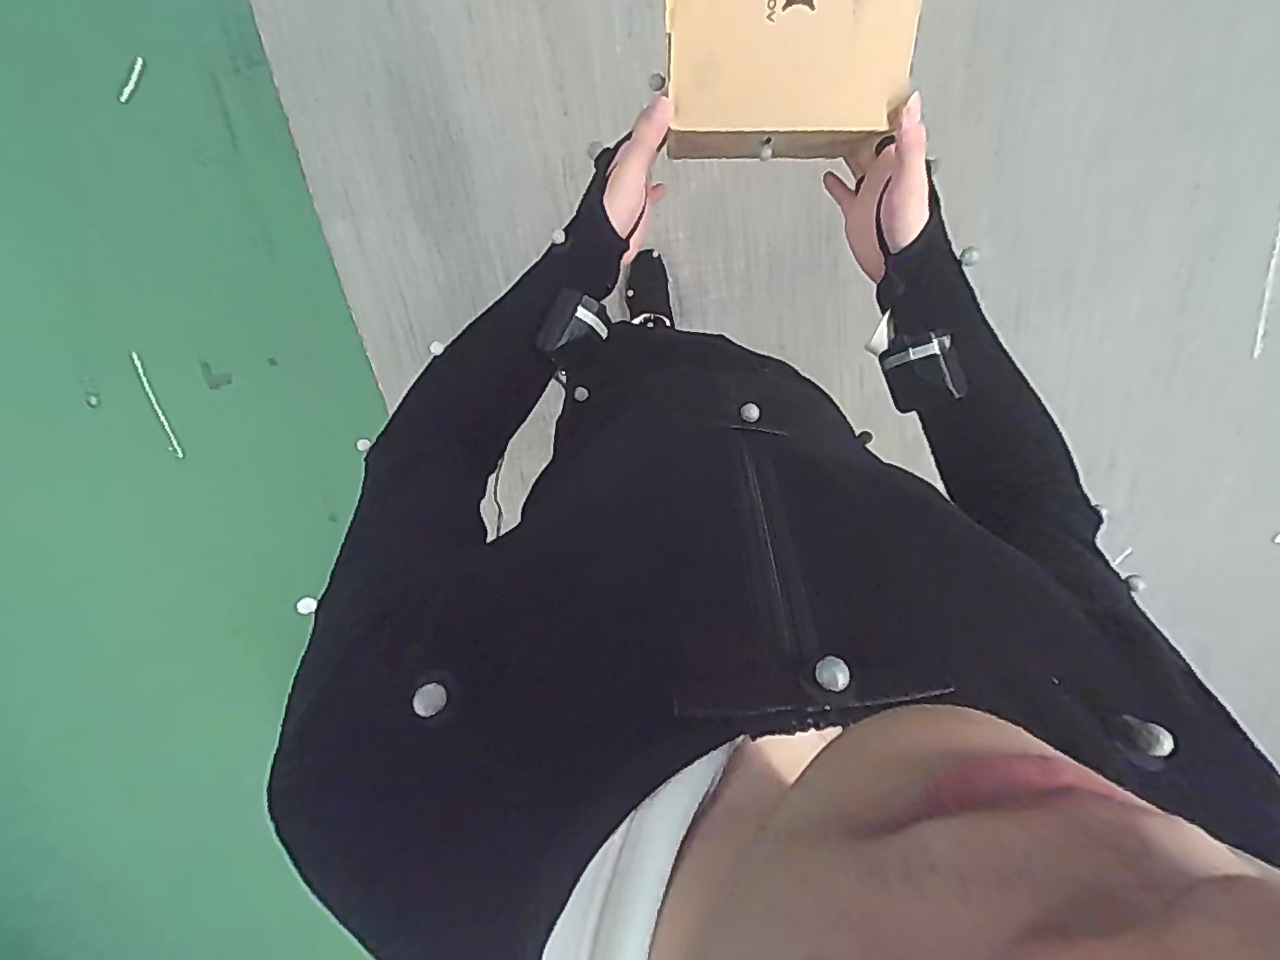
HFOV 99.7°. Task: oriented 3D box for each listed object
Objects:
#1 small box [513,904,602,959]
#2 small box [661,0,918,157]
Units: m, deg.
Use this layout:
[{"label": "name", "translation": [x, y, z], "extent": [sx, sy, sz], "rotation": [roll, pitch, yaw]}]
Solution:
[{"label": "small box", "translation": [-0.180, 1.072, 1.187], "extent": [0.179, 0.176, 0.168], "rotation": [-8, 109, 2]}, {"label": "small box", "translation": [0.110, -0.371, 0.444], "extent": [0.179, 0.176, 0.168], "rotation": [2, 115, 2]}]
